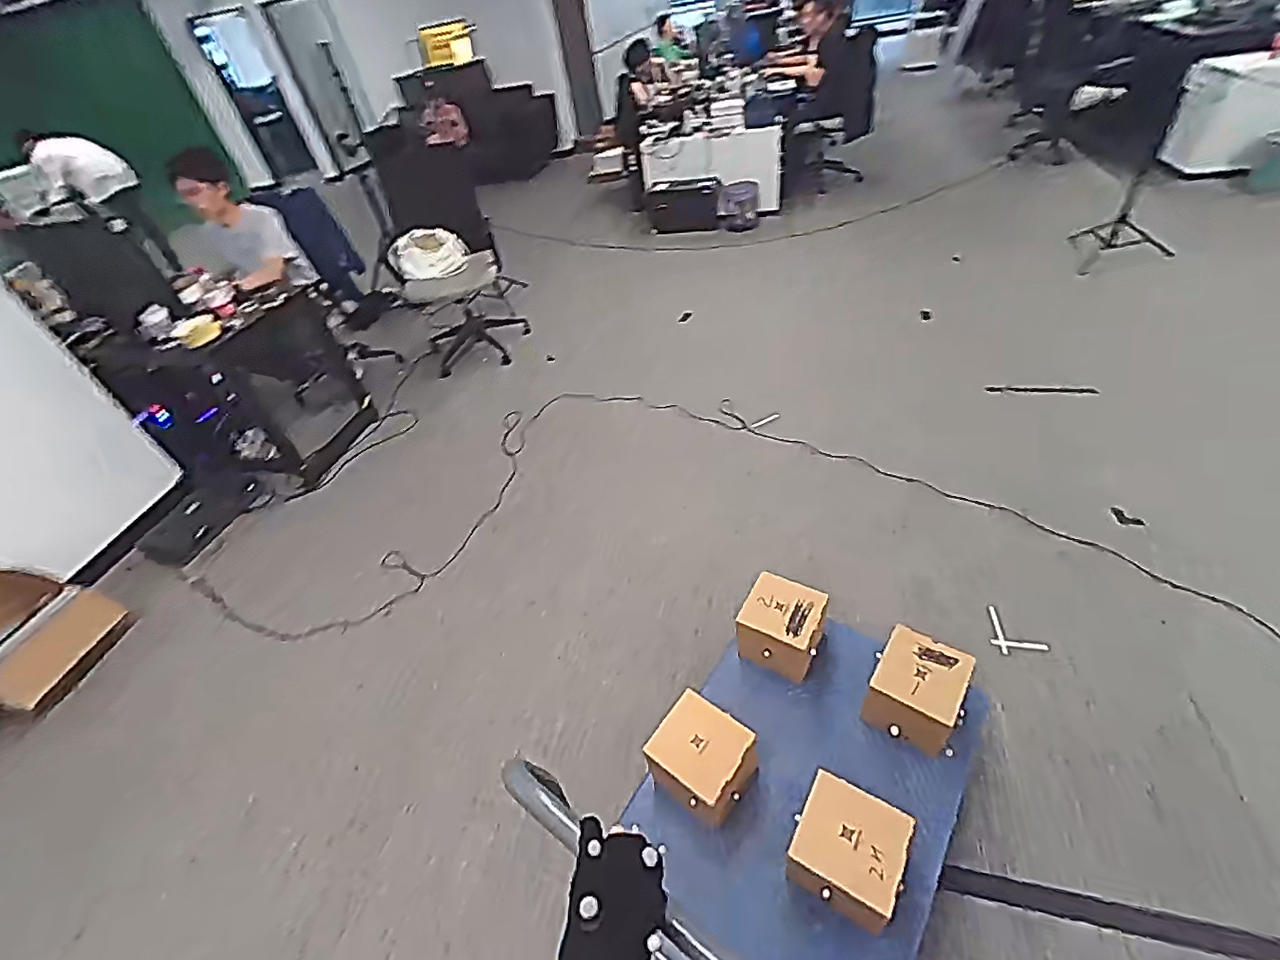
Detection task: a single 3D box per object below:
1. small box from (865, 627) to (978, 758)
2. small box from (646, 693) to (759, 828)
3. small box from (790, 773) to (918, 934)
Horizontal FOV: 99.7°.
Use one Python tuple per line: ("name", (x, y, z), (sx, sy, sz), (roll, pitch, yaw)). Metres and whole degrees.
("small box", (0.613, 0.469, 1.193), (0.168, 0.176, 0.179), (22, 53, 32))
("small box", (0.136, 0.602, 1.158), (0.179, 0.176, 0.168), (25, 53, 32))
("small box", (0.388, 0.692, 1.001), (0.179, 0.176, 0.168), (18, 50, 29))
